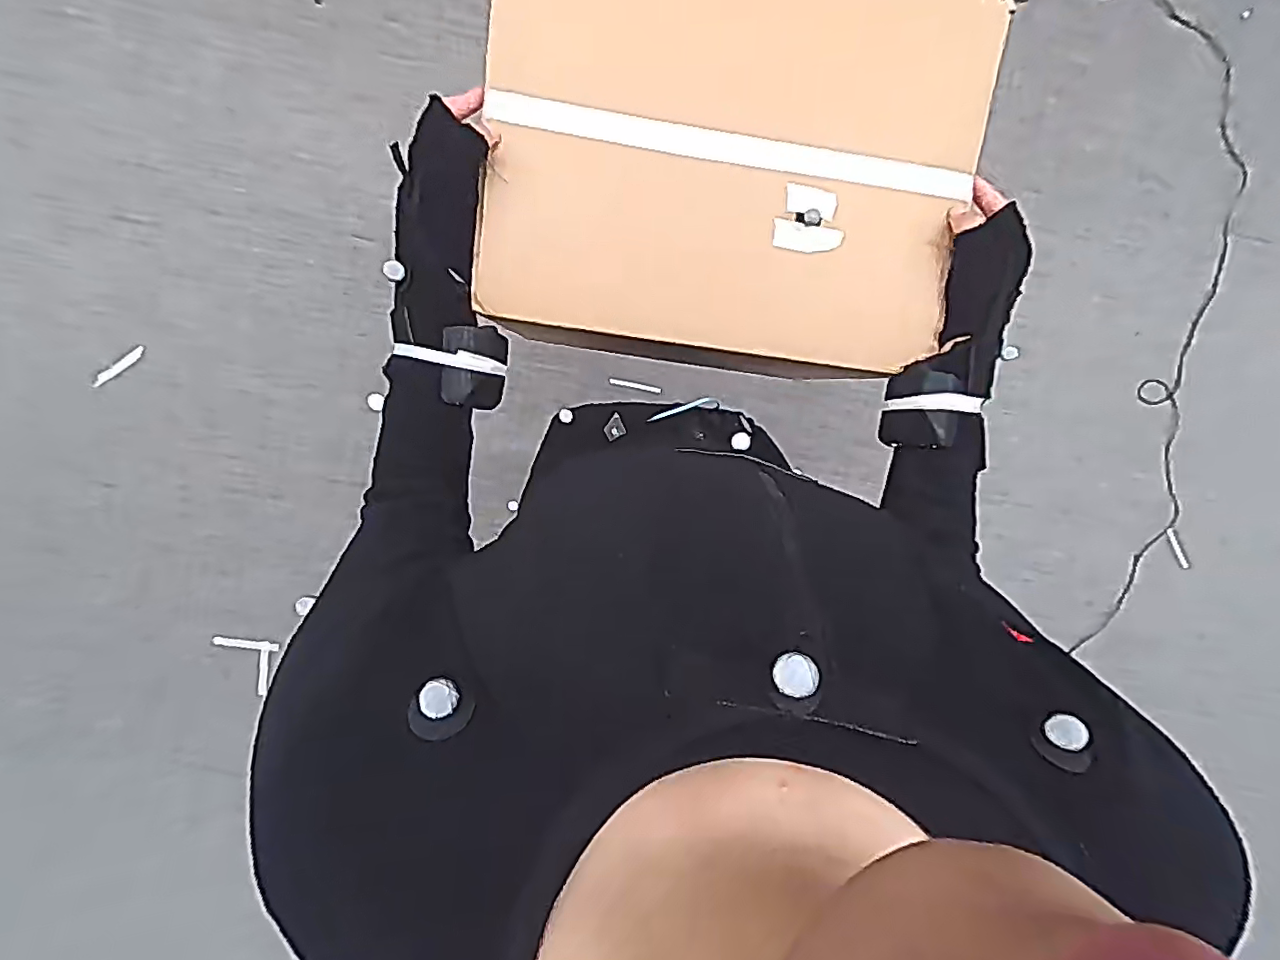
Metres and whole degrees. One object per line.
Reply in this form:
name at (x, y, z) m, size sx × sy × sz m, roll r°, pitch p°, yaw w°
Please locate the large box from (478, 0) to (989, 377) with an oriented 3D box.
large box at (0.061, -0.292, 0.596) m, size 0.408 × 0.320 × 0.320 m, roll 7°, pitch 101°, yaw -7°
